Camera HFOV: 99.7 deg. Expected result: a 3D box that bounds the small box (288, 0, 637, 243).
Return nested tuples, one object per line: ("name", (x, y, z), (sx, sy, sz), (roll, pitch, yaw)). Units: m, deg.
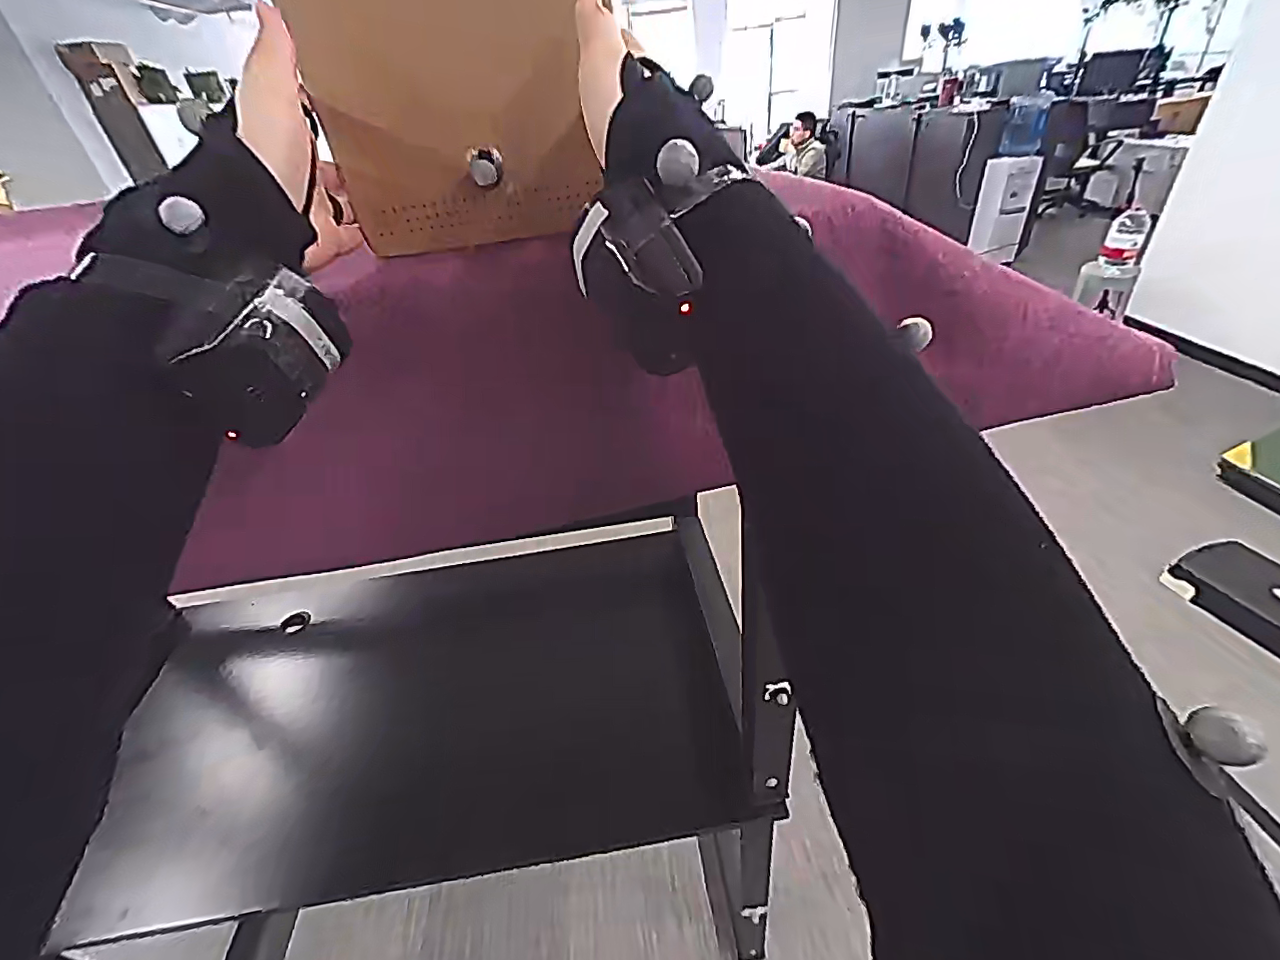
("small box", (-0.095, -0.271, 0.361), (0.179, 0.176, 0.168), (-7, 35, 2))
